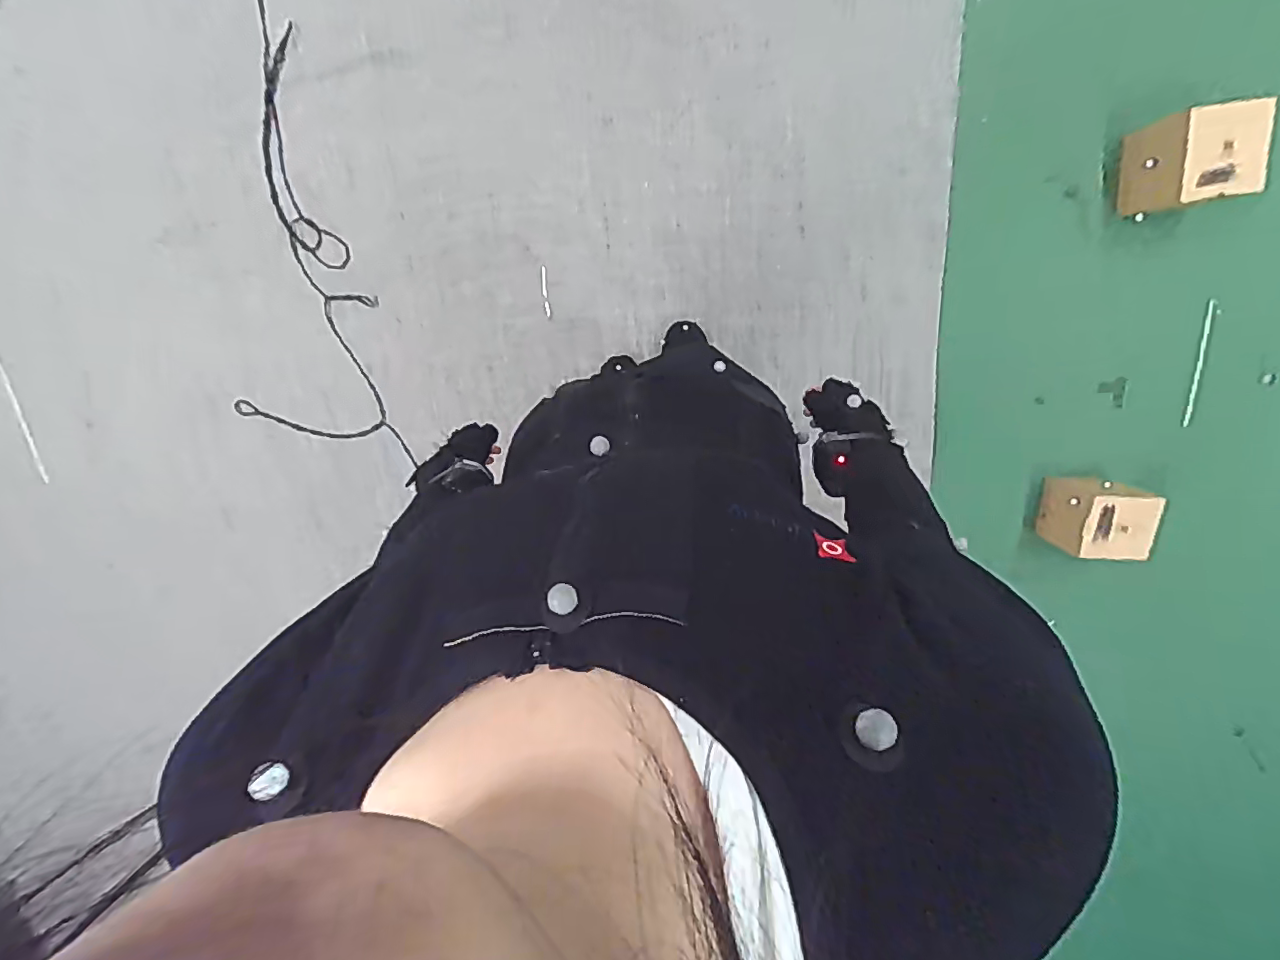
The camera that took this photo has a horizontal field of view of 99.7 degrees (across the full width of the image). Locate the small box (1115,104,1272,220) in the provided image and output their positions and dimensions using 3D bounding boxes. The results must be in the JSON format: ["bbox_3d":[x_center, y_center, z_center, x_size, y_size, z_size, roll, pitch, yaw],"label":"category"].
[{"bbox_3d":[1.195,-0.682,1.184,0.168,0.176,0.179,-6,104,3],"label":"small box"}]
